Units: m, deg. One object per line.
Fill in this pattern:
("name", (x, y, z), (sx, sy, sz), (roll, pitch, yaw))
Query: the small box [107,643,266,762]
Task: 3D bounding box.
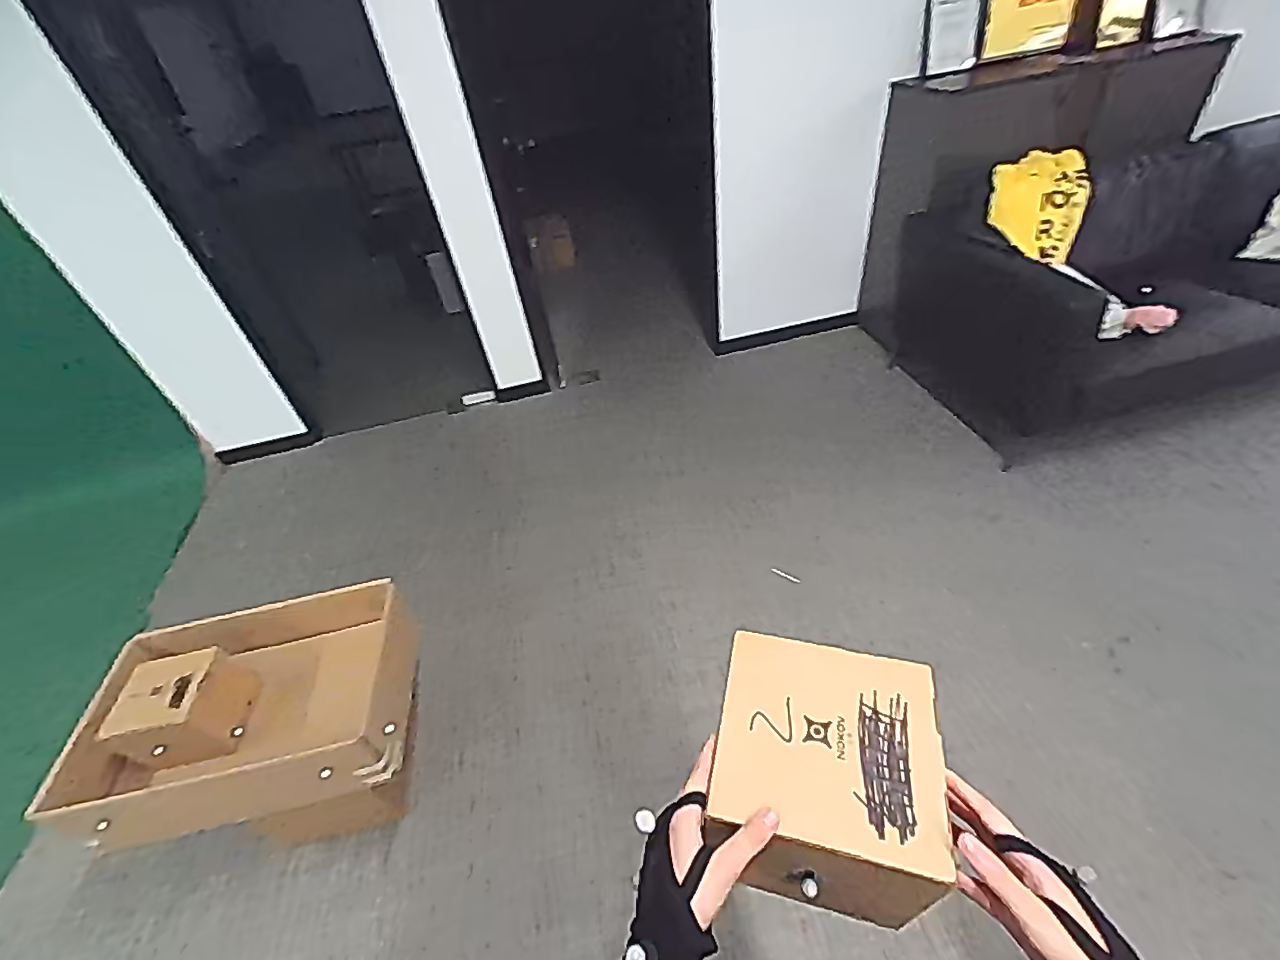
("small box", (-0.963, 0.484, 1.173), (0.179, 0.176, 0.168), (-11, 42, -2))
